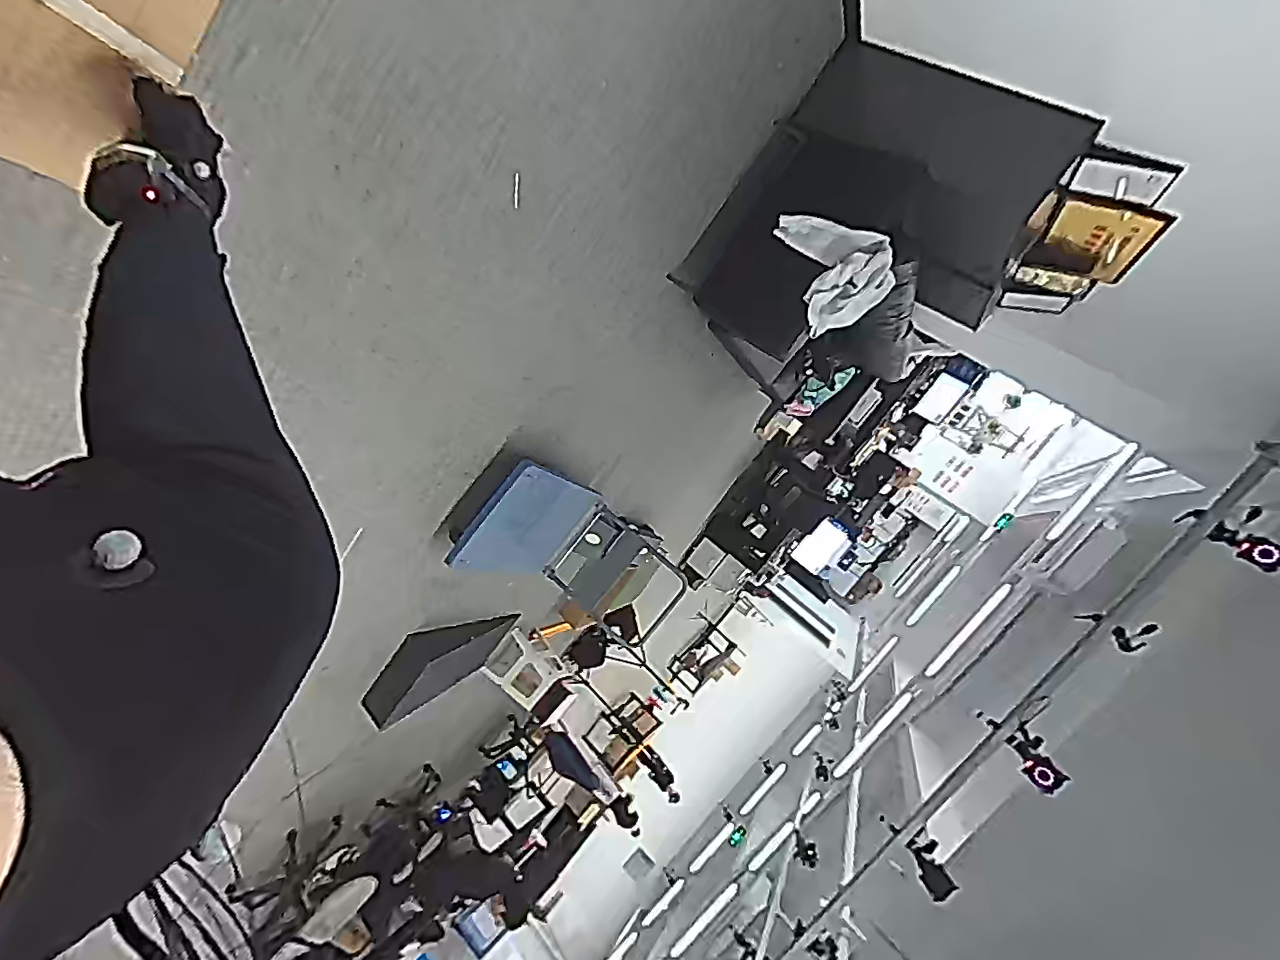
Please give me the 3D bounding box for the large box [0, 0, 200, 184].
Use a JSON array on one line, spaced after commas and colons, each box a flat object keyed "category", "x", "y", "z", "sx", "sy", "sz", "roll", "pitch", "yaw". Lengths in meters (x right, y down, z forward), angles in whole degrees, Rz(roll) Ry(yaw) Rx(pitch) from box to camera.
[{"category": "large box", "x": -0.646, "y": -0.540, "z": 0.415, "sx": 0.320, "sy": 0.320, "sz": 0.408, "roll": -47, "pitch": 158, "yaw": 12}]
